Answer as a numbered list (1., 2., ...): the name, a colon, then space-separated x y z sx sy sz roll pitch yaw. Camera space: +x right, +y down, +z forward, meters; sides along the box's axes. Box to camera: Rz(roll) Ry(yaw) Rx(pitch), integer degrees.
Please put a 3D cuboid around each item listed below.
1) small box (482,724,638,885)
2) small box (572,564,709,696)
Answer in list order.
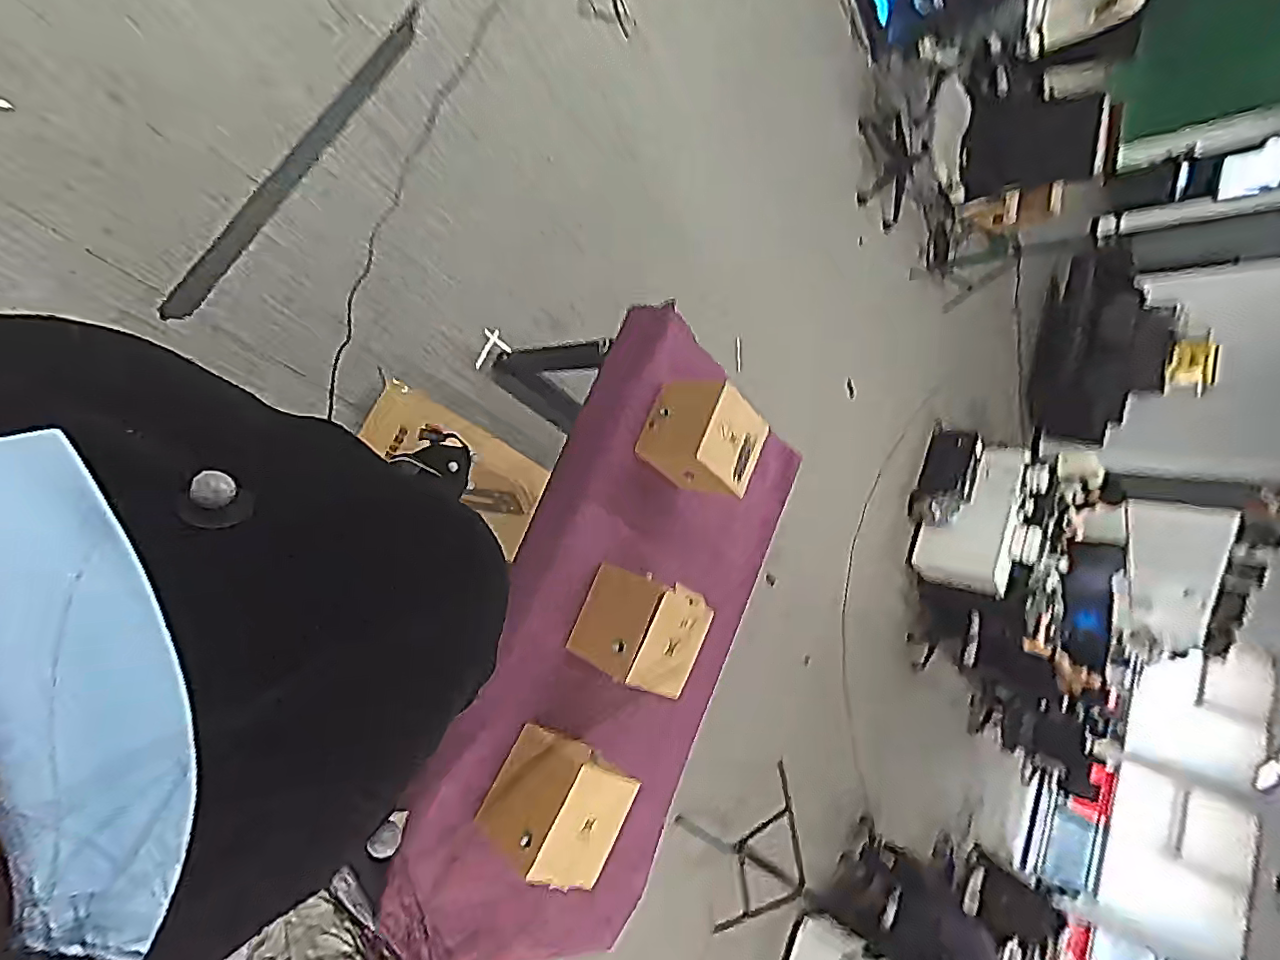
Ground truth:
1. small box: -0.141 0.554 0.939 0.168 0.176 0.179 44 67 -39
2. small box: -0.003 0.281 1.028 0.168 0.176 0.179 36 71 -44
